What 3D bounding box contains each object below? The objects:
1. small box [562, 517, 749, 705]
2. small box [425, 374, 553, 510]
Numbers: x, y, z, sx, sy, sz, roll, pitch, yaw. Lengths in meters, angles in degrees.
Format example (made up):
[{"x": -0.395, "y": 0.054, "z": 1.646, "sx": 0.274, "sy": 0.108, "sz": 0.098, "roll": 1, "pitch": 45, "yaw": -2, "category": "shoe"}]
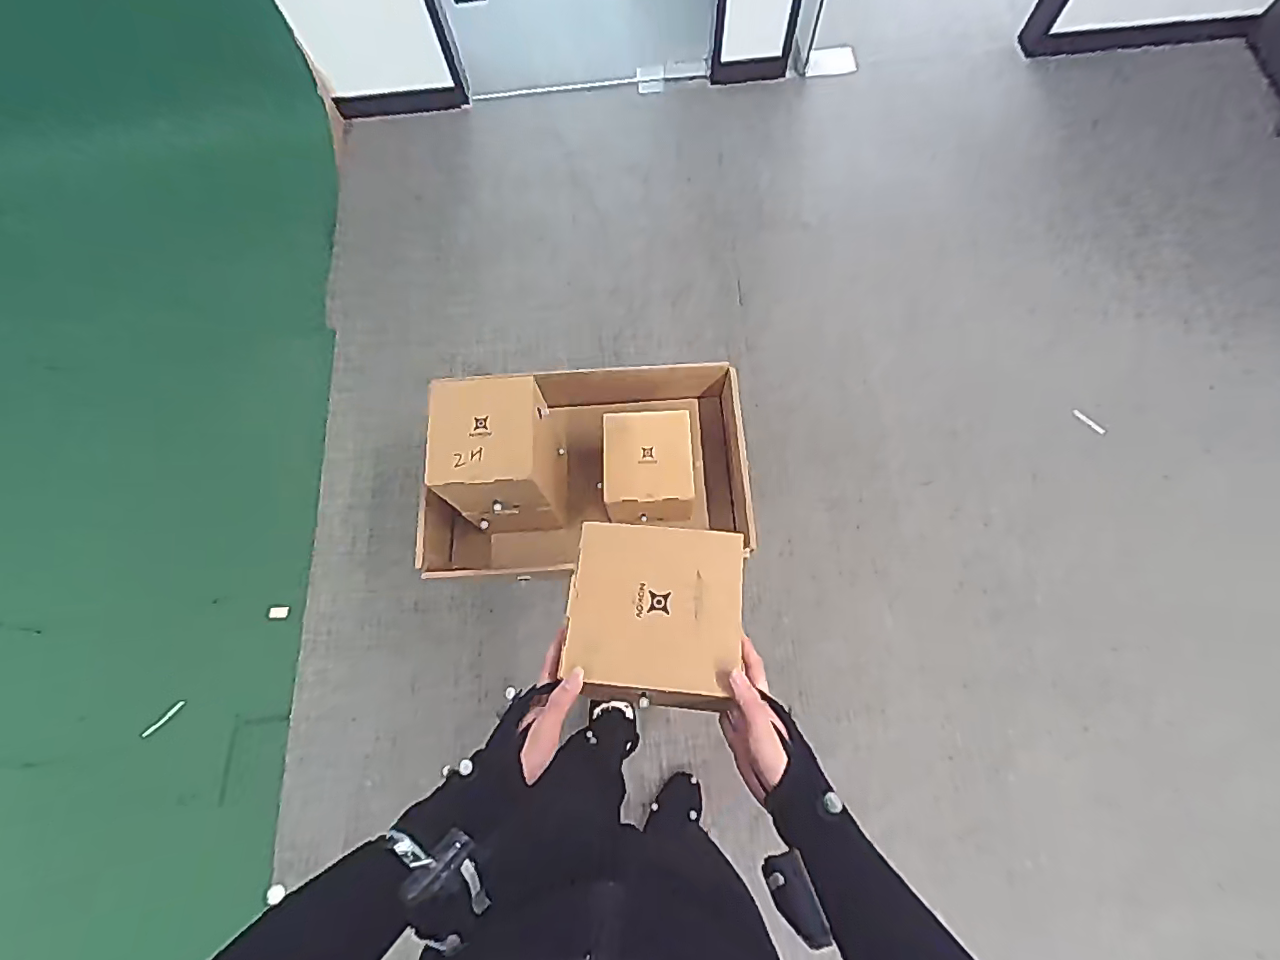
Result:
[{"x": 0.024, "y": 0.154, "z": 0.611, "sx": 0.179, "sy": 0.176, "sz": 0.168, "roll": 4, "pitch": 63, "yaw": 5, "category": "small box"}, {"x": -0.241, "y": -0.058, "z": 0.905, "sx": 0.168, "sy": 0.176, "sz": 0.179, "roll": -3, "pitch": 72, "yaw": 0, "category": "small box"}]
